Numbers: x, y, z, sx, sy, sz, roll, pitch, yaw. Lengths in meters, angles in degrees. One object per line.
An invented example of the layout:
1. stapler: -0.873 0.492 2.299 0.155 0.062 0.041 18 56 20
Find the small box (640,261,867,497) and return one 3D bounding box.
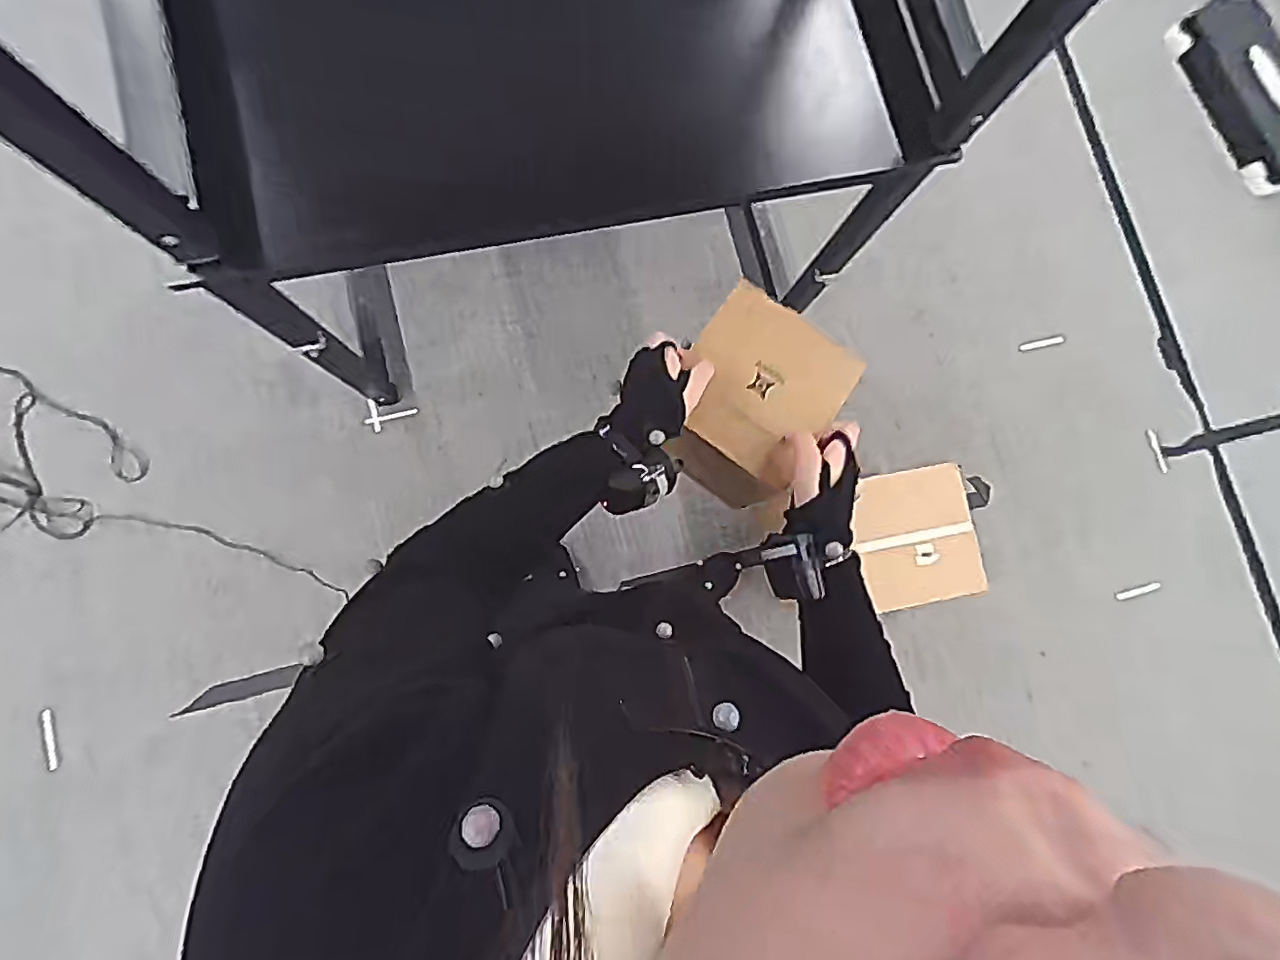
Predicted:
1. small box: 0.113 -0.101 0.619 0.168 0.176 0.179 35 79 0

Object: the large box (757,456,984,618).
1. large box: 0.565 0.144 1.393 0.408 0.320 0.320 -10 86 -8
